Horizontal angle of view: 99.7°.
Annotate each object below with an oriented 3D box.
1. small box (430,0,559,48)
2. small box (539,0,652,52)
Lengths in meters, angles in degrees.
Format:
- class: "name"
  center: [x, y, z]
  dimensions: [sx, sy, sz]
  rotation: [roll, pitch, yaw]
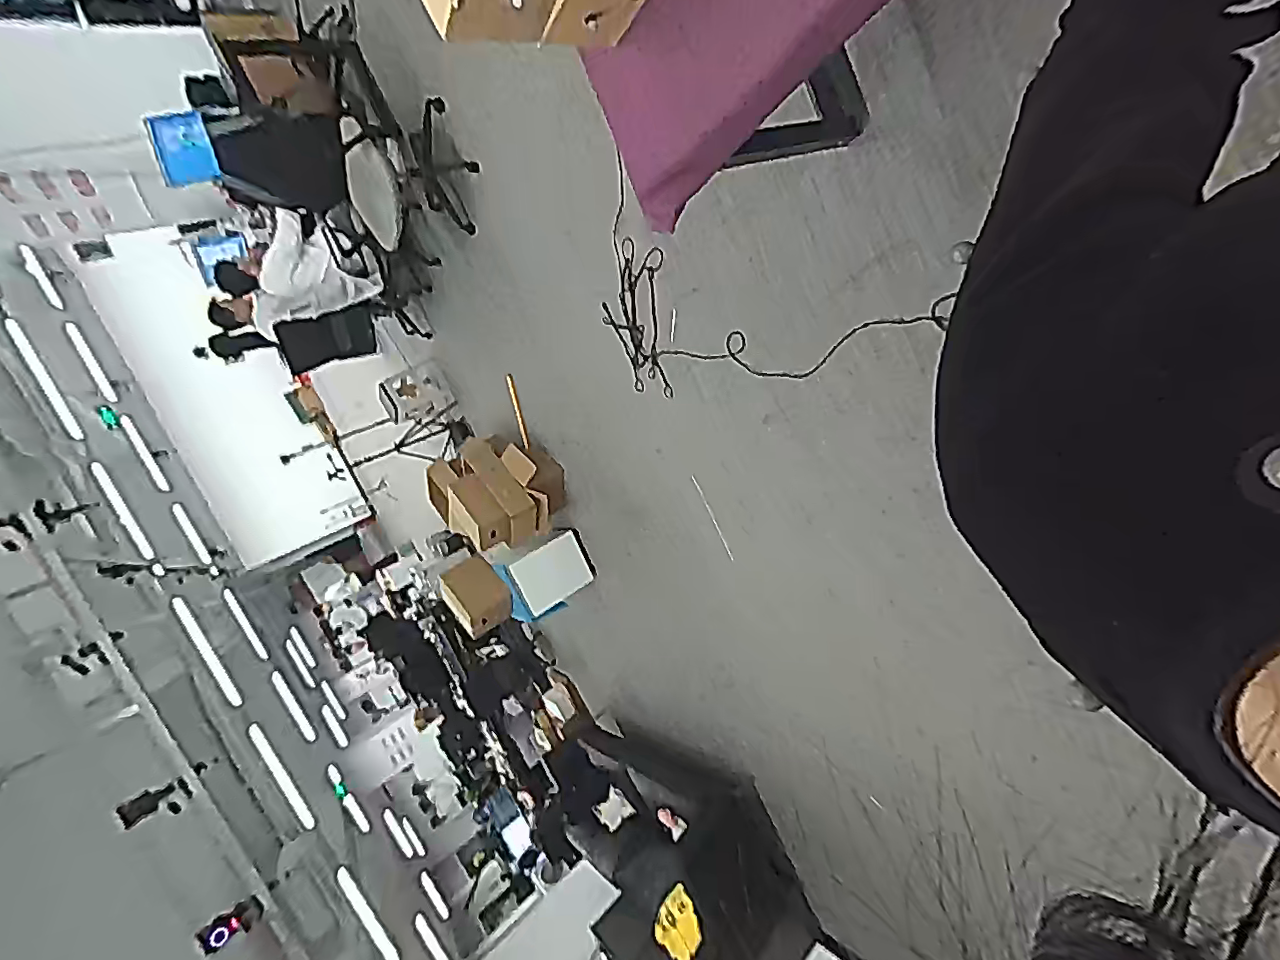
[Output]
- class: "small box"
  center: [-0.209, -0.757, 0.756]
  dimensions: [0.168, 0.176, 0.179]
  rotation: [-19, 99, 58]
- class: "small box"
  center: [-0.082, -0.817, 0.841]
  dimensions: [0.168, 0.176, 0.179]
  rotation: [-9, 107, 58]
